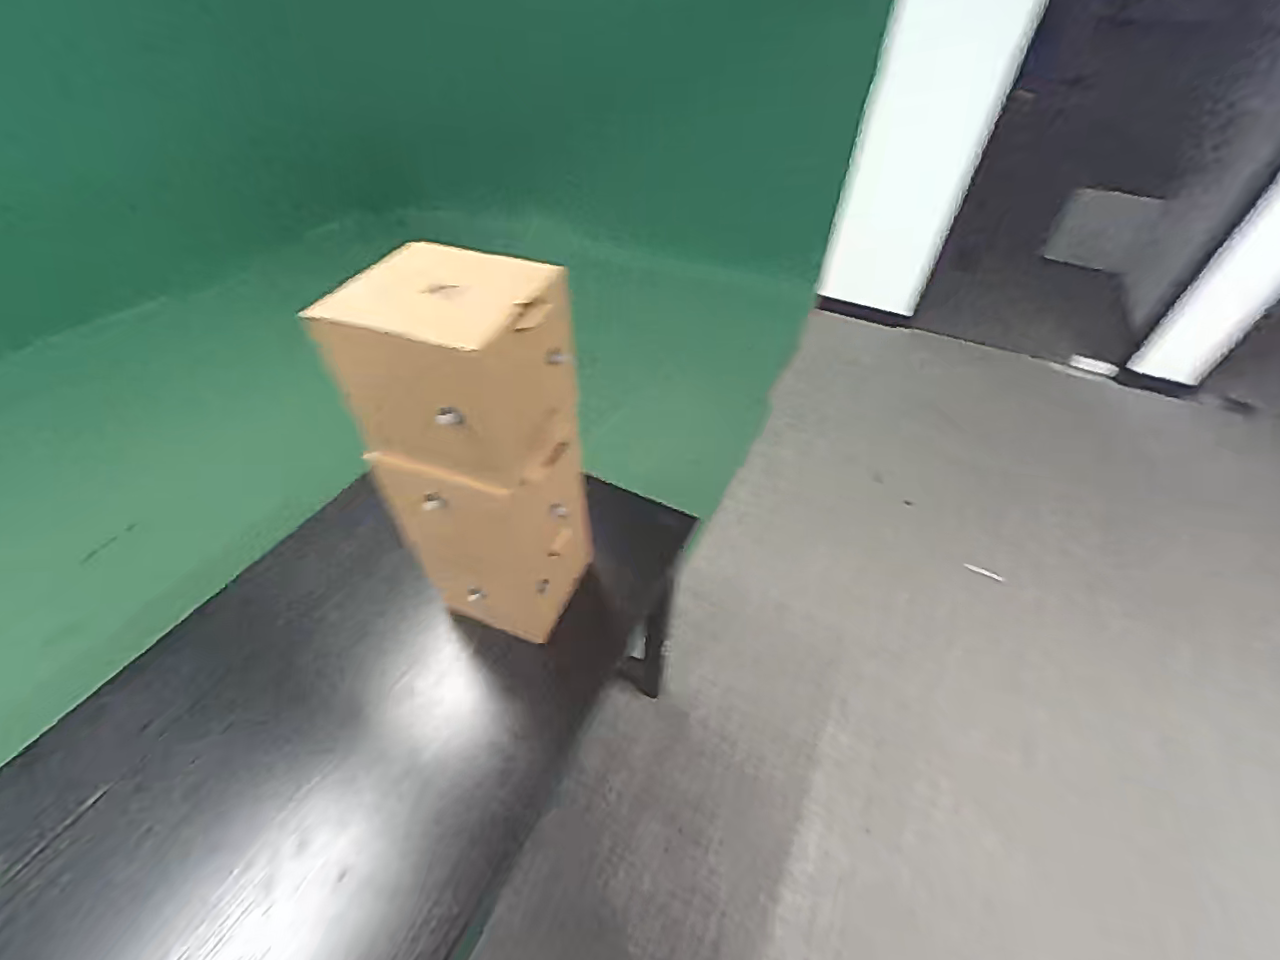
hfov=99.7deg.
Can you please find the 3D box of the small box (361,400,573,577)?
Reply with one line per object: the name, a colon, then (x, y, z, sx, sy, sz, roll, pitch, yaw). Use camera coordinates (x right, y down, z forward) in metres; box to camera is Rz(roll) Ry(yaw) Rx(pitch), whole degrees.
small box: (-0.198, -0.003, 0.677, 0.179, 0.176, 0.168, 15, 49, 12)
